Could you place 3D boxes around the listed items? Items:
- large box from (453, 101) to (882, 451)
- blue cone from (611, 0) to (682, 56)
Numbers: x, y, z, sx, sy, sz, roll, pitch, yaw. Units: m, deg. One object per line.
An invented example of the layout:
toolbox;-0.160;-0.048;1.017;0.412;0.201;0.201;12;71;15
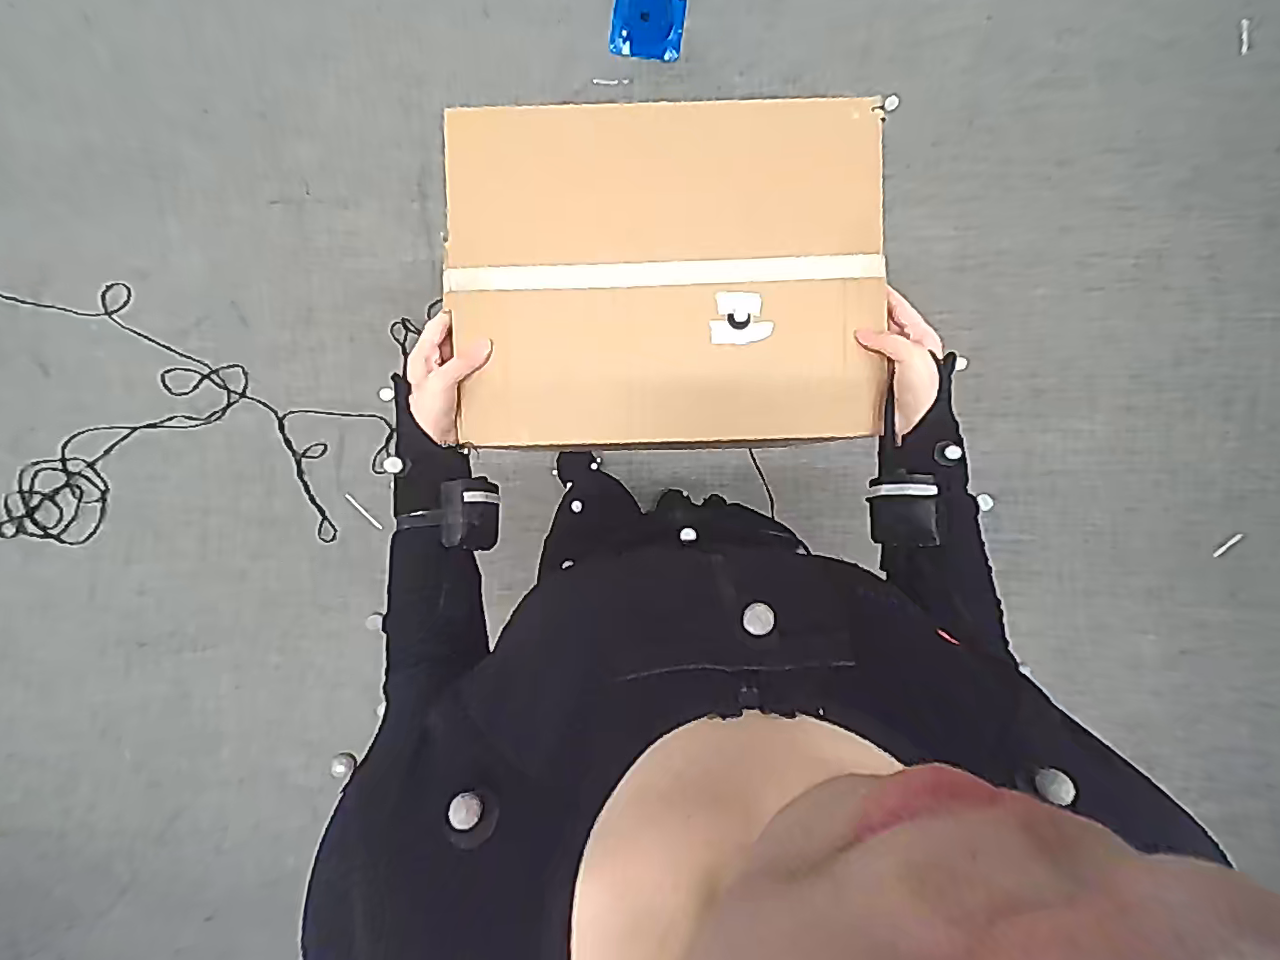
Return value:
large box;0.025;-0.201;0.659;0.408;0.320;0.320;-2;92;-1
blue cone;0.018;-1.295;1.356;0.193;0.380;0.192;9;89;0
